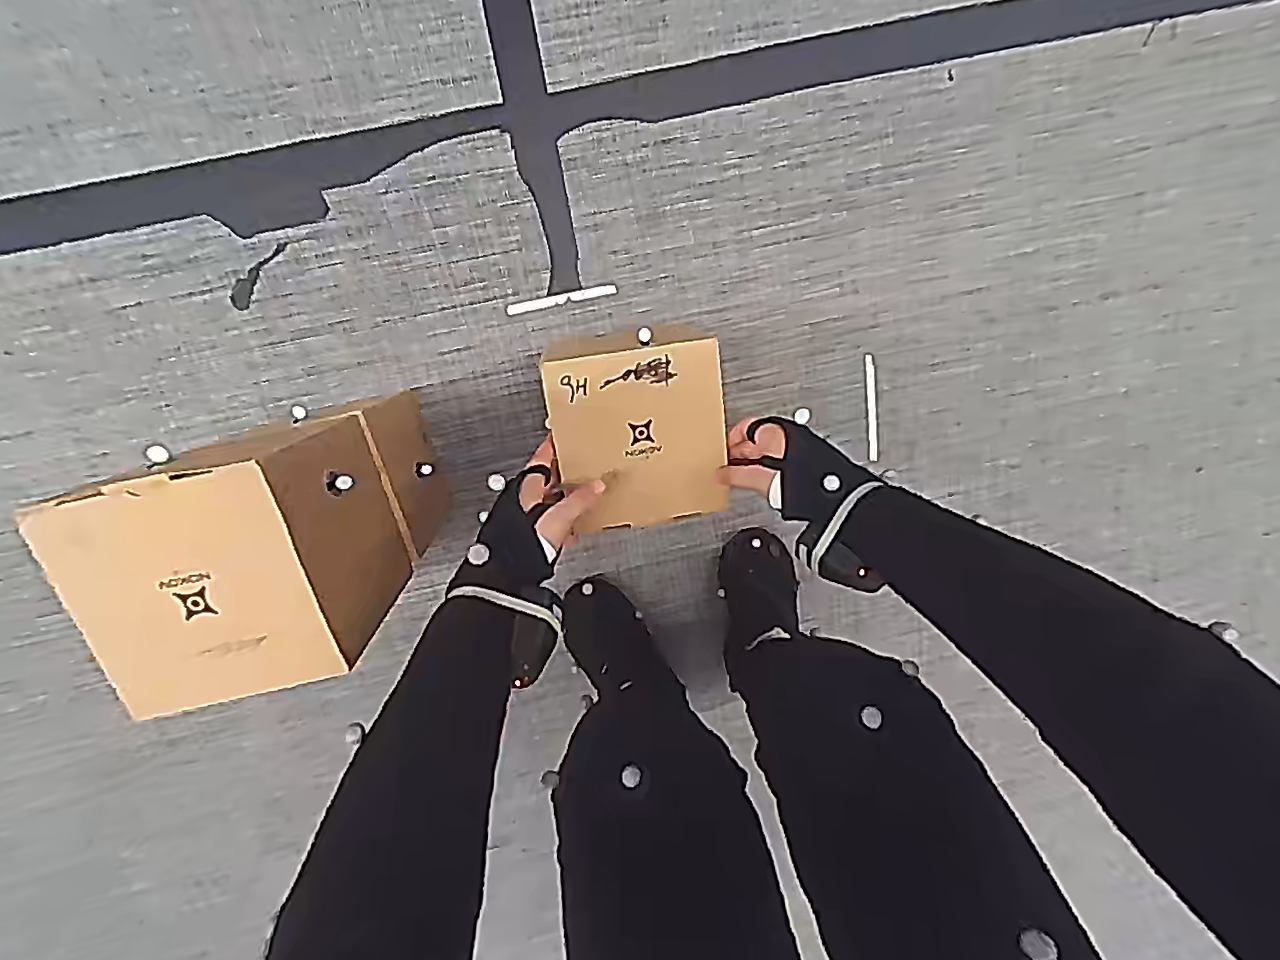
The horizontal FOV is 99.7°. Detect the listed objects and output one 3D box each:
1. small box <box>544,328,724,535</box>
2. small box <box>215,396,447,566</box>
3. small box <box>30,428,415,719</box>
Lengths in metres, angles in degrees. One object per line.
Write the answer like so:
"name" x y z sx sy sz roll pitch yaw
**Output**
"small box" -0.007 -0.062 0.598 0.168 0.176 0.179 -8 113 -4
"small box" -0.336 0.009 0.617 0.179 0.176 0.168 -13 108 -2
"small box" -0.319 0.062 0.464 0.168 0.176 0.179 -12 109 -1
